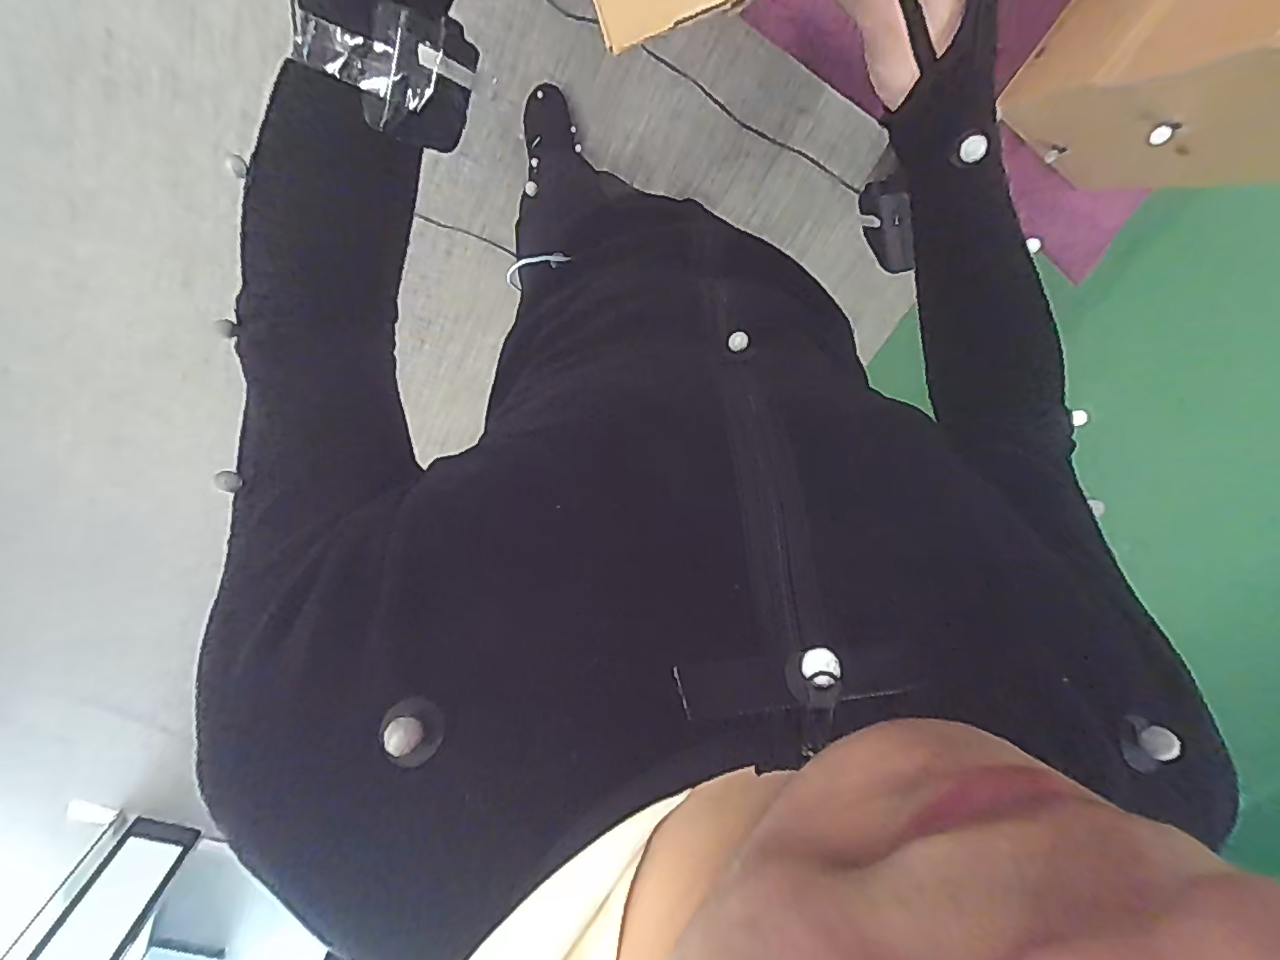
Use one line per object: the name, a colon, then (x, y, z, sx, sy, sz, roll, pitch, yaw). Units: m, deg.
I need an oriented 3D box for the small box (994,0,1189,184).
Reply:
small box: (0.551, -0.455, 0.595, 0.179, 0.176, 0.168, 29, 113, -15)
